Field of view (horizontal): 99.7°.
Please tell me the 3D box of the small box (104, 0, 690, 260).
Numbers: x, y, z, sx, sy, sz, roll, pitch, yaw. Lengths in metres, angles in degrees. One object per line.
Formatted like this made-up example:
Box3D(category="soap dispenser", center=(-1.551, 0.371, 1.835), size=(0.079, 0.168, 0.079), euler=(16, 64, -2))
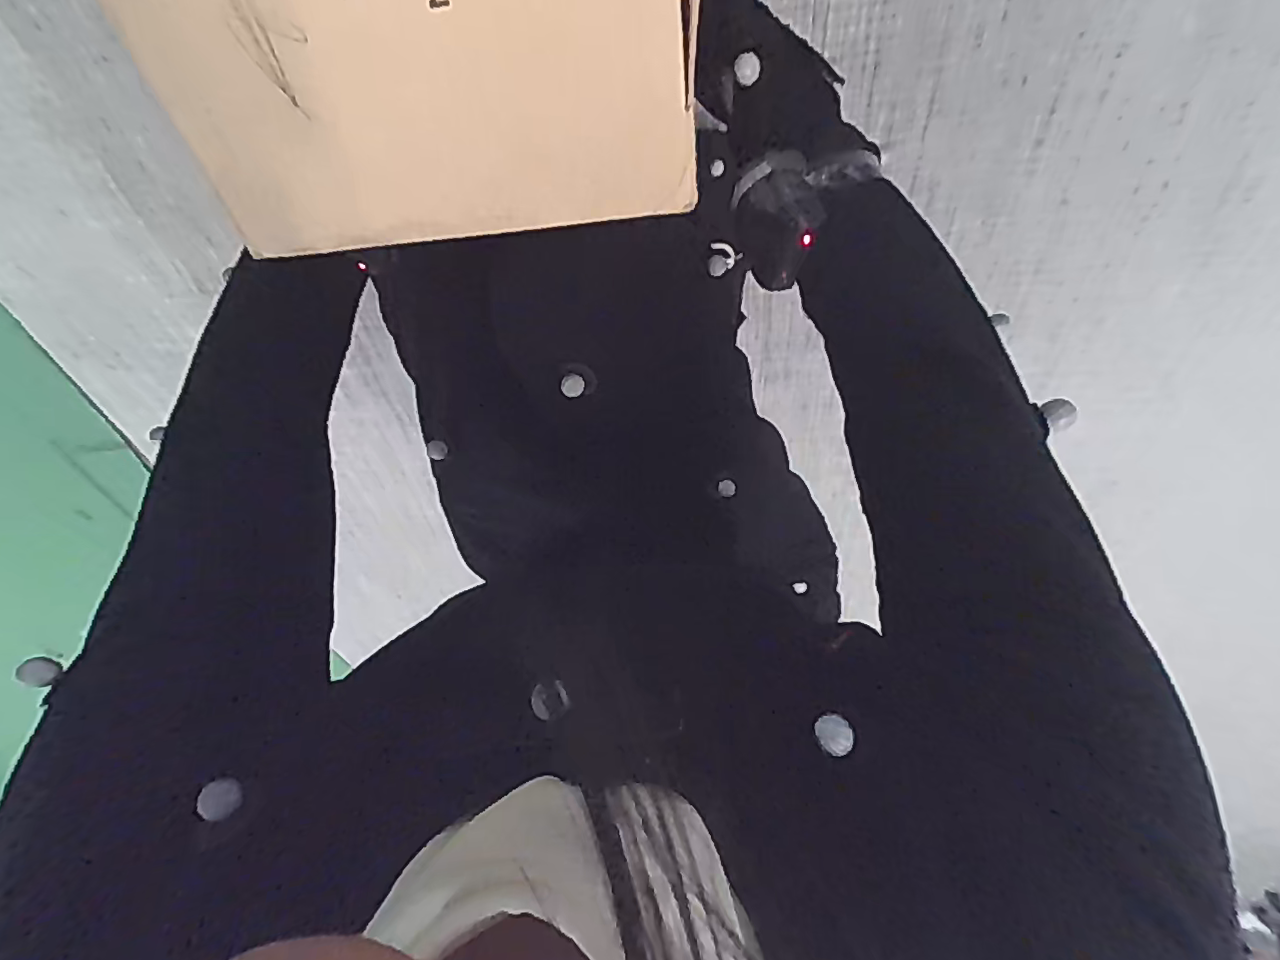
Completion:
Box3D(category="small box", center=(-0.073, -0.206, 0.212), size=(0.179, 0.176, 0.168), euler=(-2, 132, 8))
